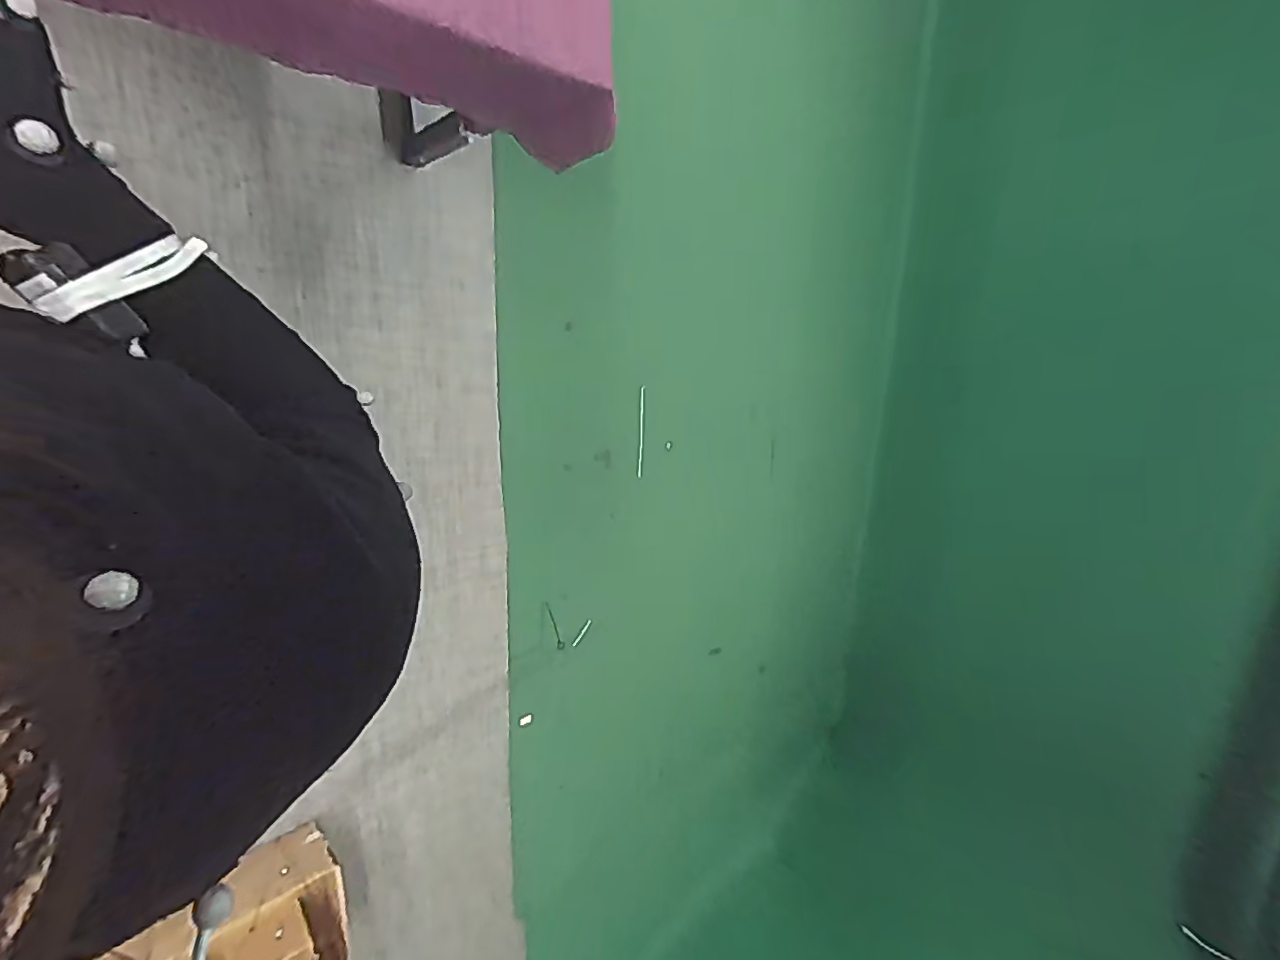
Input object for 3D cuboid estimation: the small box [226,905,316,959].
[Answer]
[{"bbox_3d":[-0.954,1.256,1.398,0.168,0.176,0.179,-7,105,-44],"label":"small box"}]
